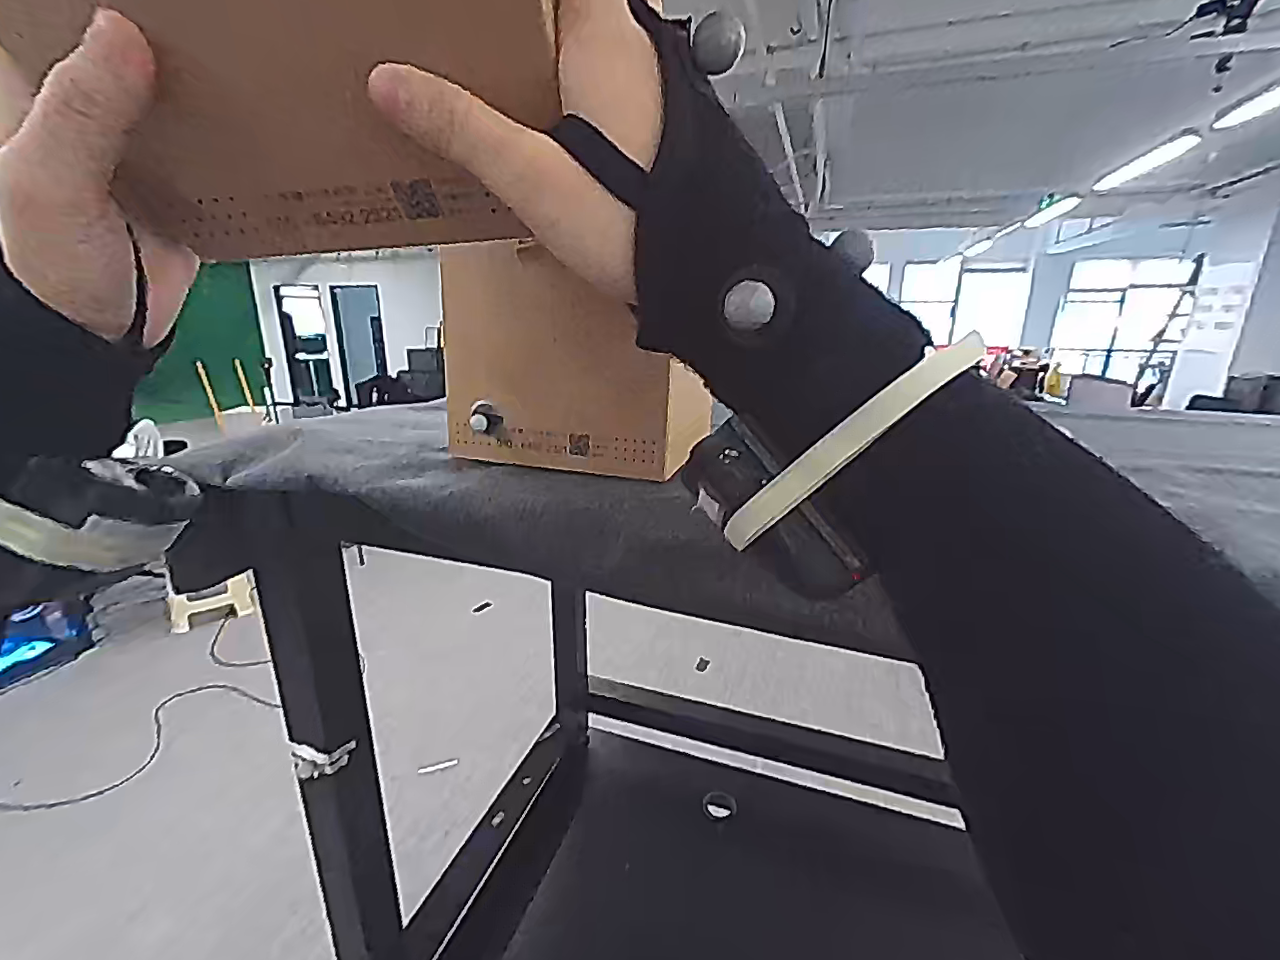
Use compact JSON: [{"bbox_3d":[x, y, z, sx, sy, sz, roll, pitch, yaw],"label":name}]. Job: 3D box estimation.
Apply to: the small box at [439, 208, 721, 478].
[{"bbox_3d":[-0.033,-0.104,0.432,0.168,0.176,0.179,7,15,15],"label":"small box"}]
